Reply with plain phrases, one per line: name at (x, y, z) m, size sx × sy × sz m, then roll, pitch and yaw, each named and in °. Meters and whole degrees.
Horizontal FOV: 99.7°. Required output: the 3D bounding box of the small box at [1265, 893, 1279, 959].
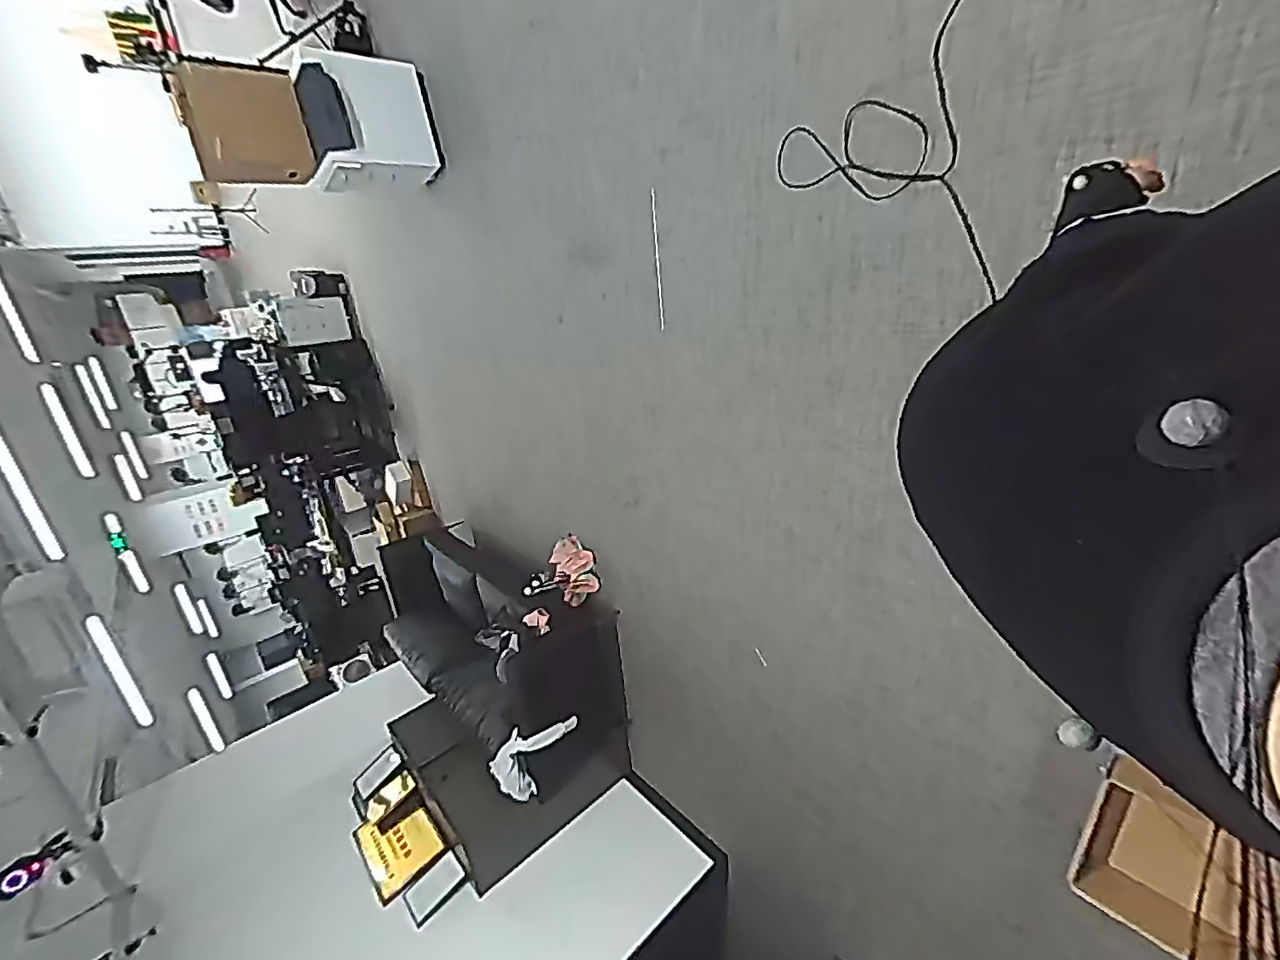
small box at (1.389, 0.951, 1.070) m, size 0.179 × 0.176 × 0.168 m, roll 14°, pitch 117°, yaw 43°
